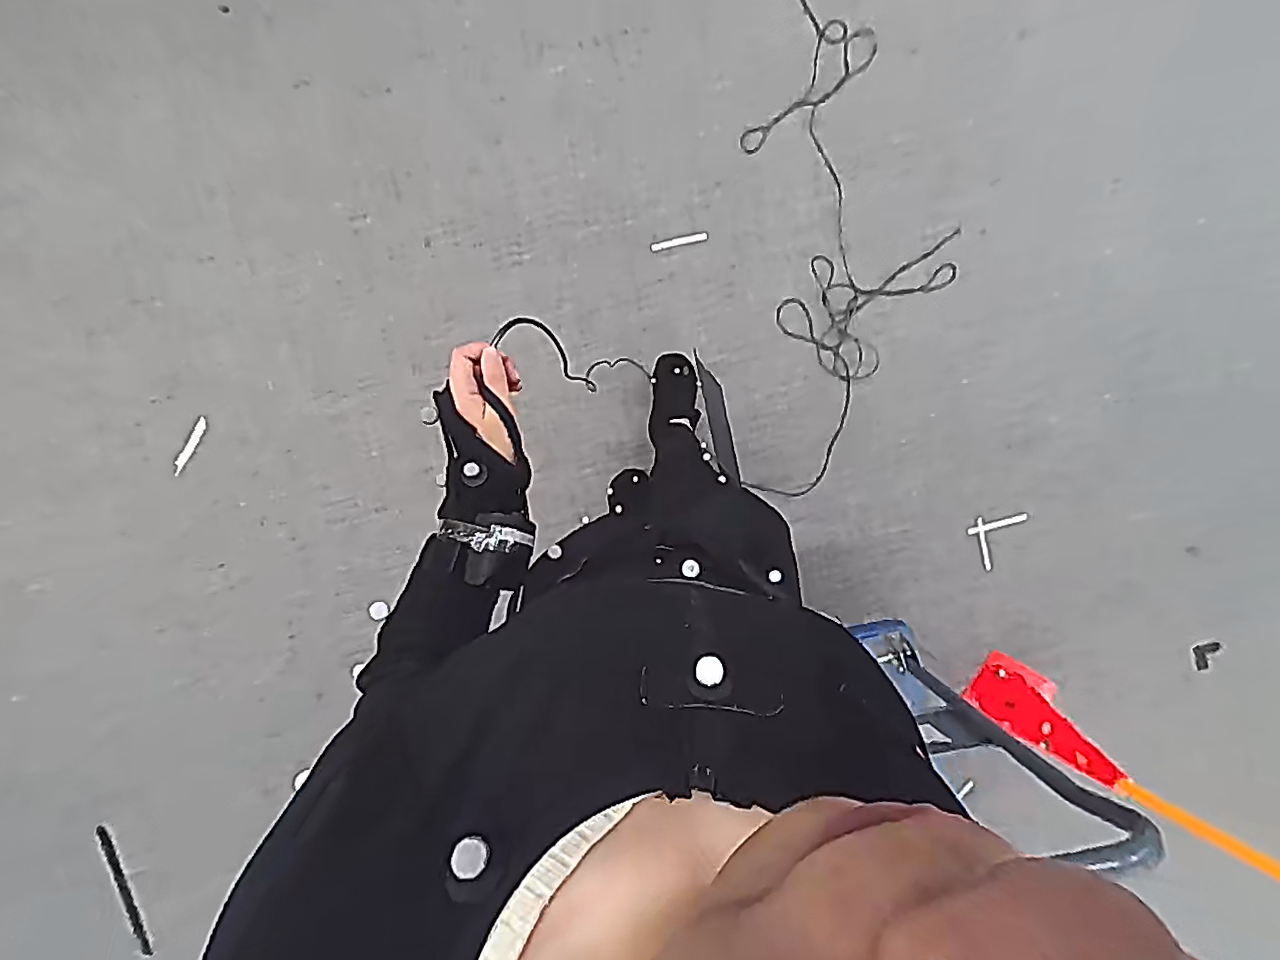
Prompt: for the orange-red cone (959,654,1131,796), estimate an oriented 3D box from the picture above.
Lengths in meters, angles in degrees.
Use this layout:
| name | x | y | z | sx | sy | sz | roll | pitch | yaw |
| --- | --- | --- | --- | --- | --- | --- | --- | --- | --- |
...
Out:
| name | x | y | z | sx | sy | sz | roll | pitch | yaw |
| --- | --- | --- | --- | --- | --- | --- | --- | --- | --- |
| orange-red cone | 0.953 | 0.591 | 1.239 | 0.198 | 0.360 | 0.199 | 32 | 95 | -2 |
